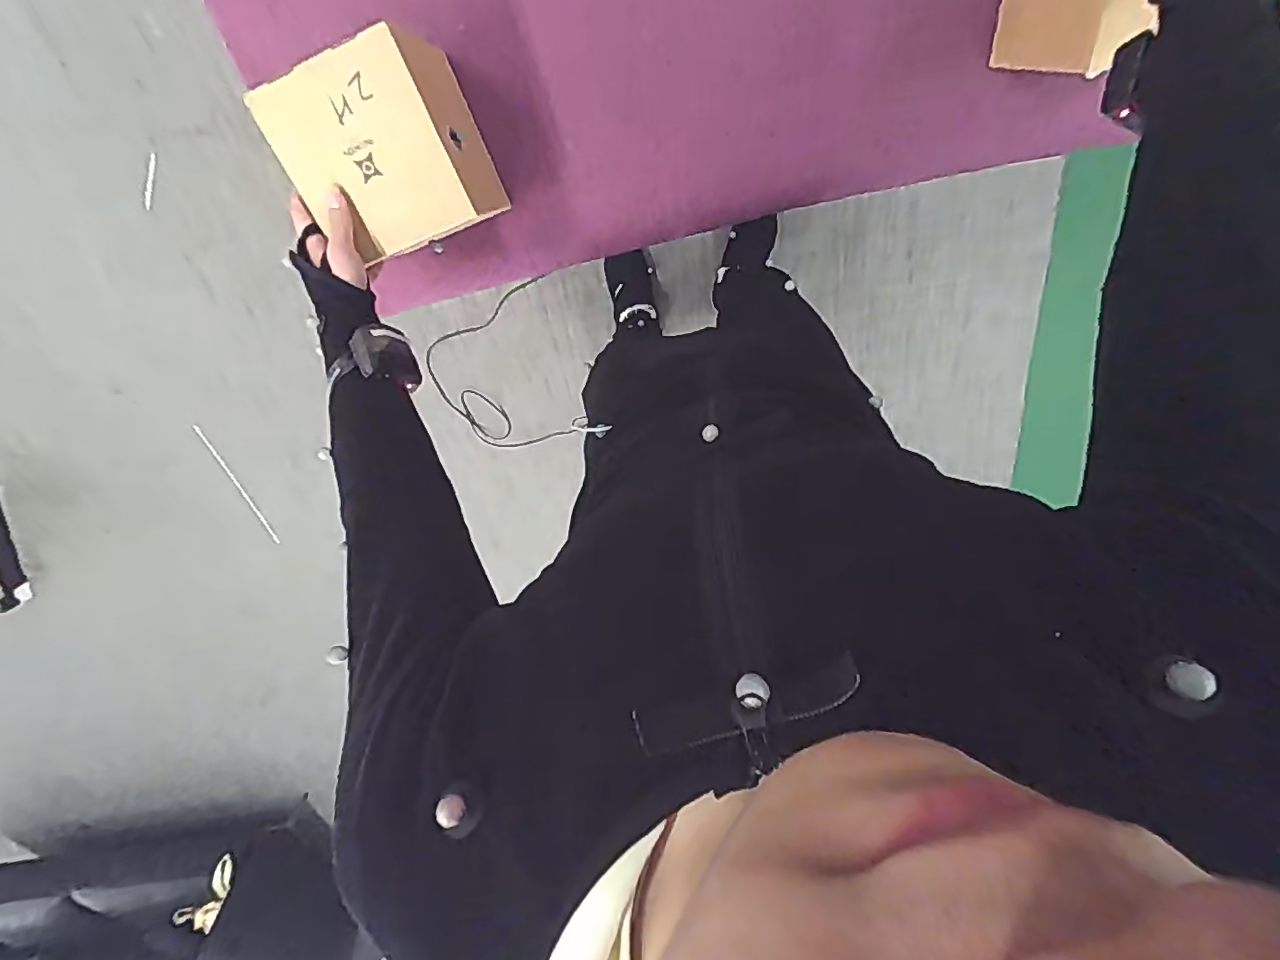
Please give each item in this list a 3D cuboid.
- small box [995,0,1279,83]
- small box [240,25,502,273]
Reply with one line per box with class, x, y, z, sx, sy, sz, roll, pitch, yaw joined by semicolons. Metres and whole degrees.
small box;0.470;-0.497;0.505;0.168;0.176;0.179;-8;128;5
small box;-0.276;-0.360;0.608;0.168;0.176;0.179;-17;119;10
